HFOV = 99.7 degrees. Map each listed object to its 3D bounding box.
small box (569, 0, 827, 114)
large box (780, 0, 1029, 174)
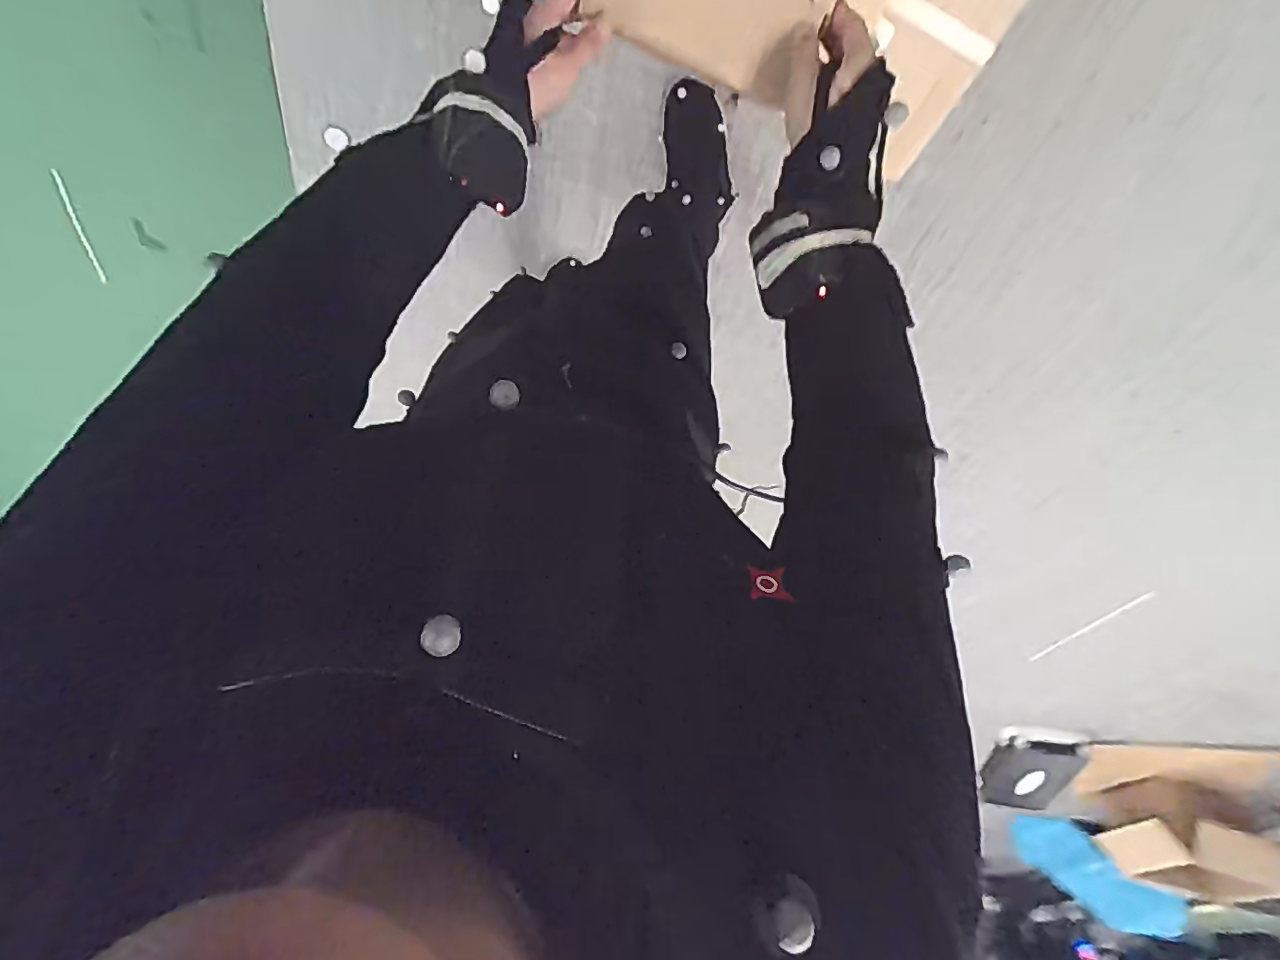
[{"bbox_3d":[0.066,-0.418,0.431,0.179,0.176,0.168,21,123,-3],"label":"small box"},{"bbox_3d":[0.271,-0.696,0.728,0.408,0.320,0.320,24,135,-9],"label":"large box"}]
